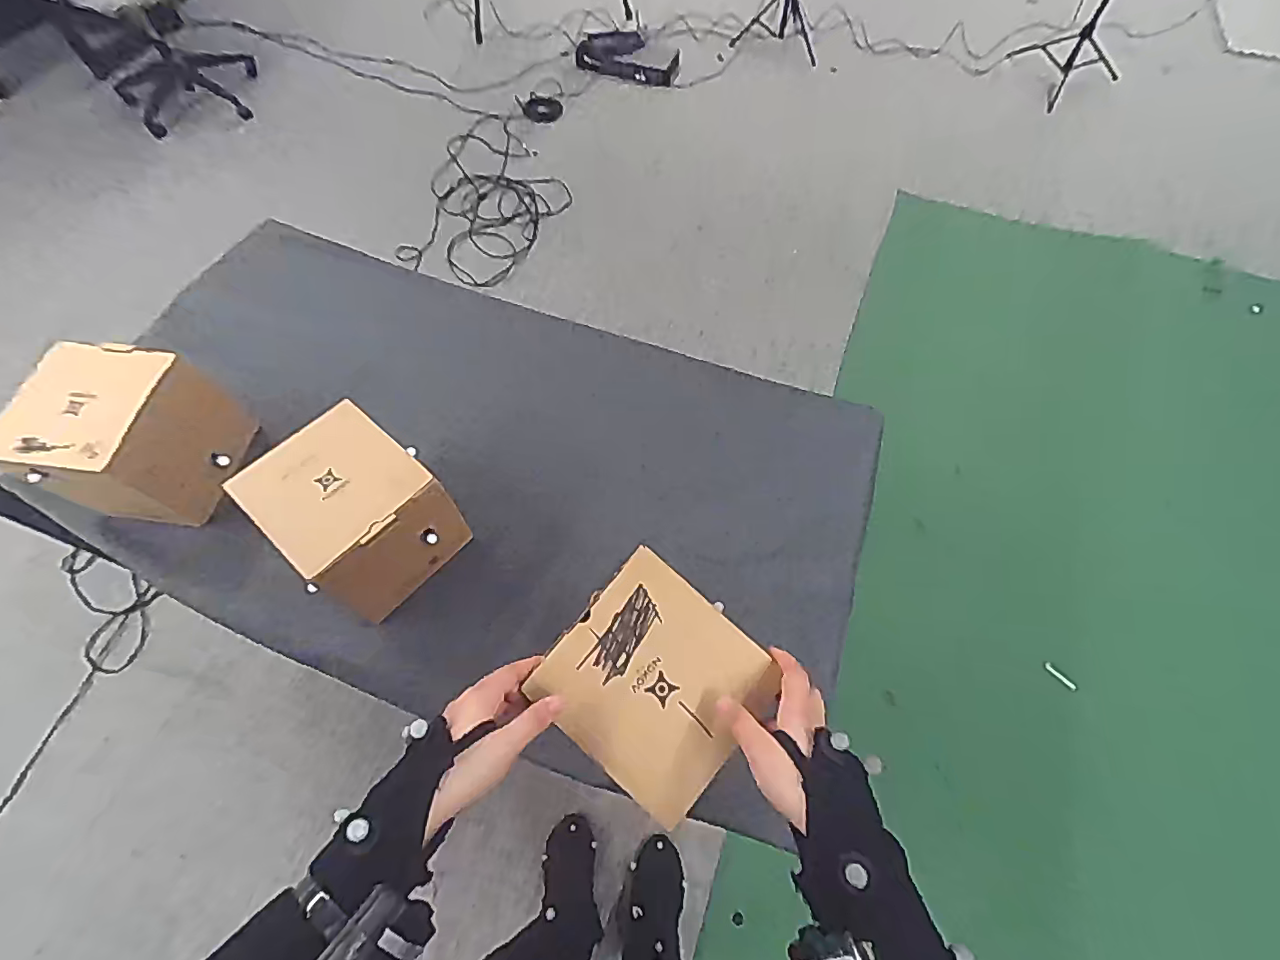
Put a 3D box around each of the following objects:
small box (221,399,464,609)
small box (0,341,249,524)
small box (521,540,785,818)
[{"bbox_3d":[-0.350,0.040,0.674,0.179,0.176,0.168,36,66,19],"label":"small box"},{"bbox_3d":[-0.679,-0.059,0.729,0.168,0.176,0.179,6,63,4],"label":"small box"},{"bbox_3d":[0.011,0.188,0.549,0.179,0.176,0.168,40,79,9],"label":"small box"}]
